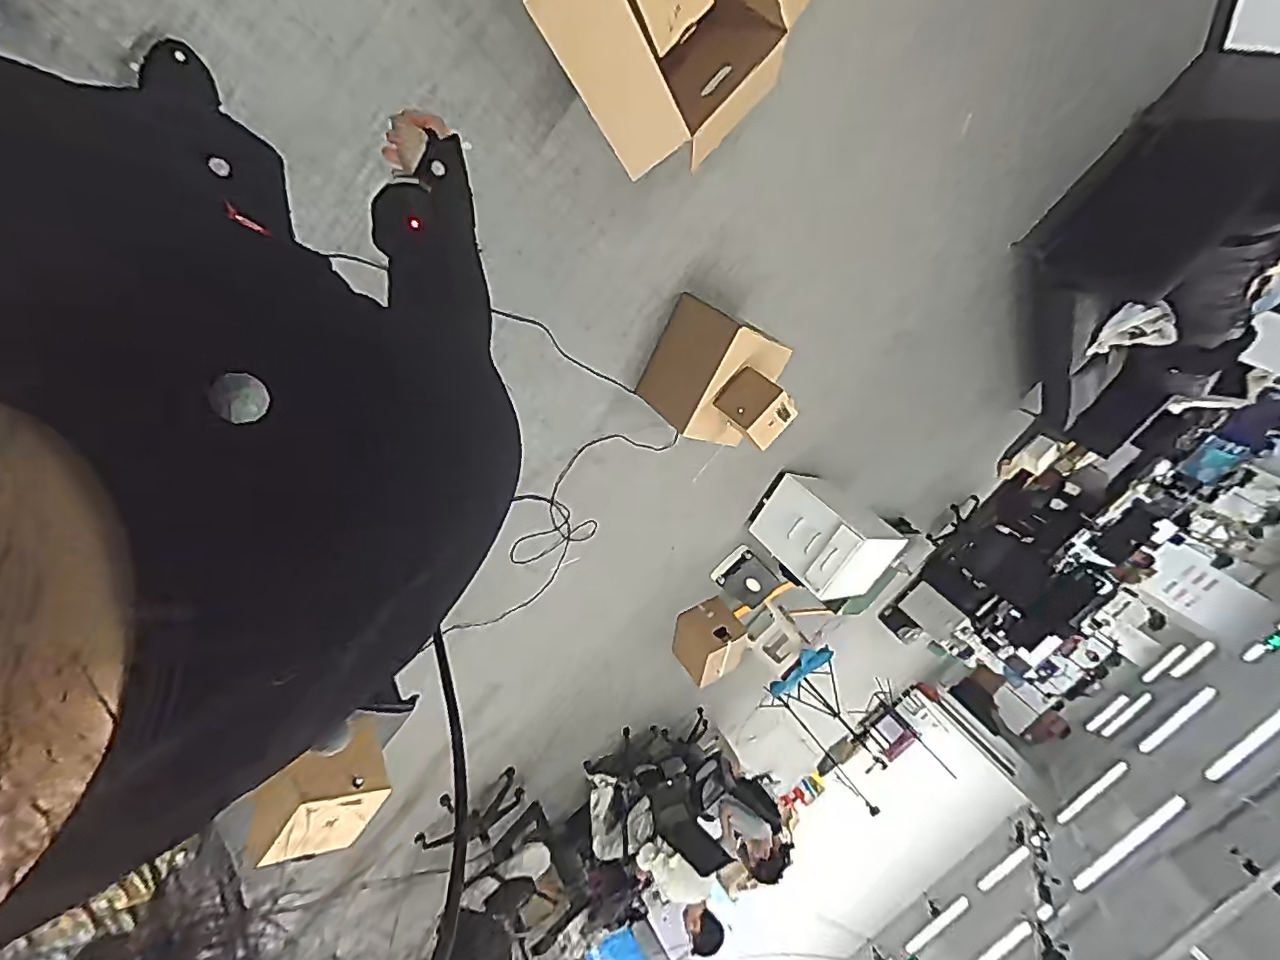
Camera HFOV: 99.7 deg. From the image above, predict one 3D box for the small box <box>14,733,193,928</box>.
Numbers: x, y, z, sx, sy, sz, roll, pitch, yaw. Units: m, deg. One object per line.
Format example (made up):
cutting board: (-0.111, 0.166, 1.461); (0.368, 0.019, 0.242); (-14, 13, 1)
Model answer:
small box: (-0.814, 0.520, 0.832); (0.179, 0.176, 0.168); (8, 120, -44)

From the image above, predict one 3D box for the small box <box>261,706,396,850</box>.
small box: (-0.610, 0.568, 1.051); (0.168, 0.176, 0.179); (23, 110, -49)
